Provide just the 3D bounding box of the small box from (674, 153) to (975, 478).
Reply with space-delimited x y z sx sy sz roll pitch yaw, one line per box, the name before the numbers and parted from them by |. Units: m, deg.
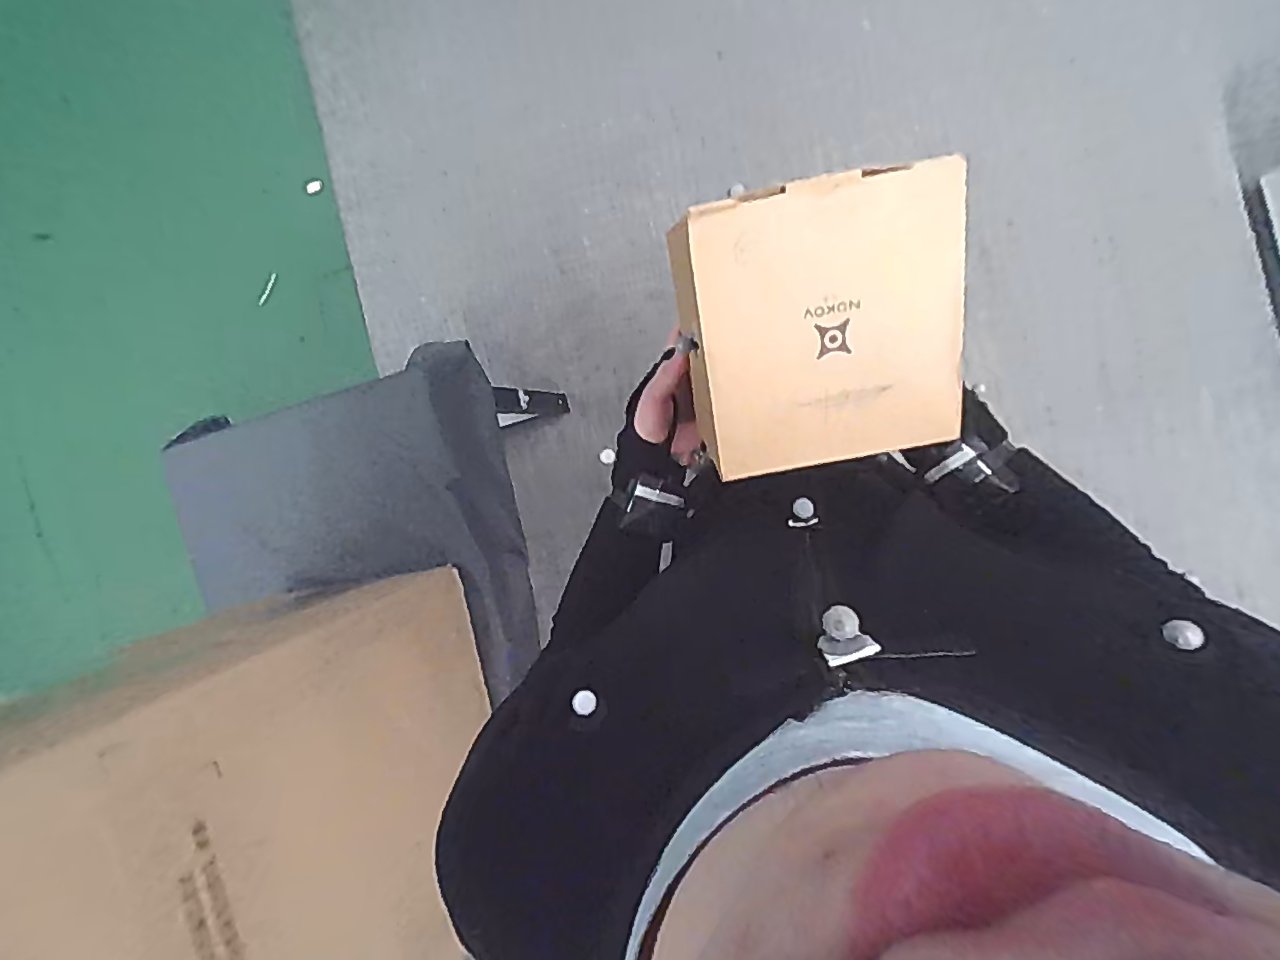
small box | 0.124 -0.121 0.415 0.168 0.176 0.179 -10 110 2
